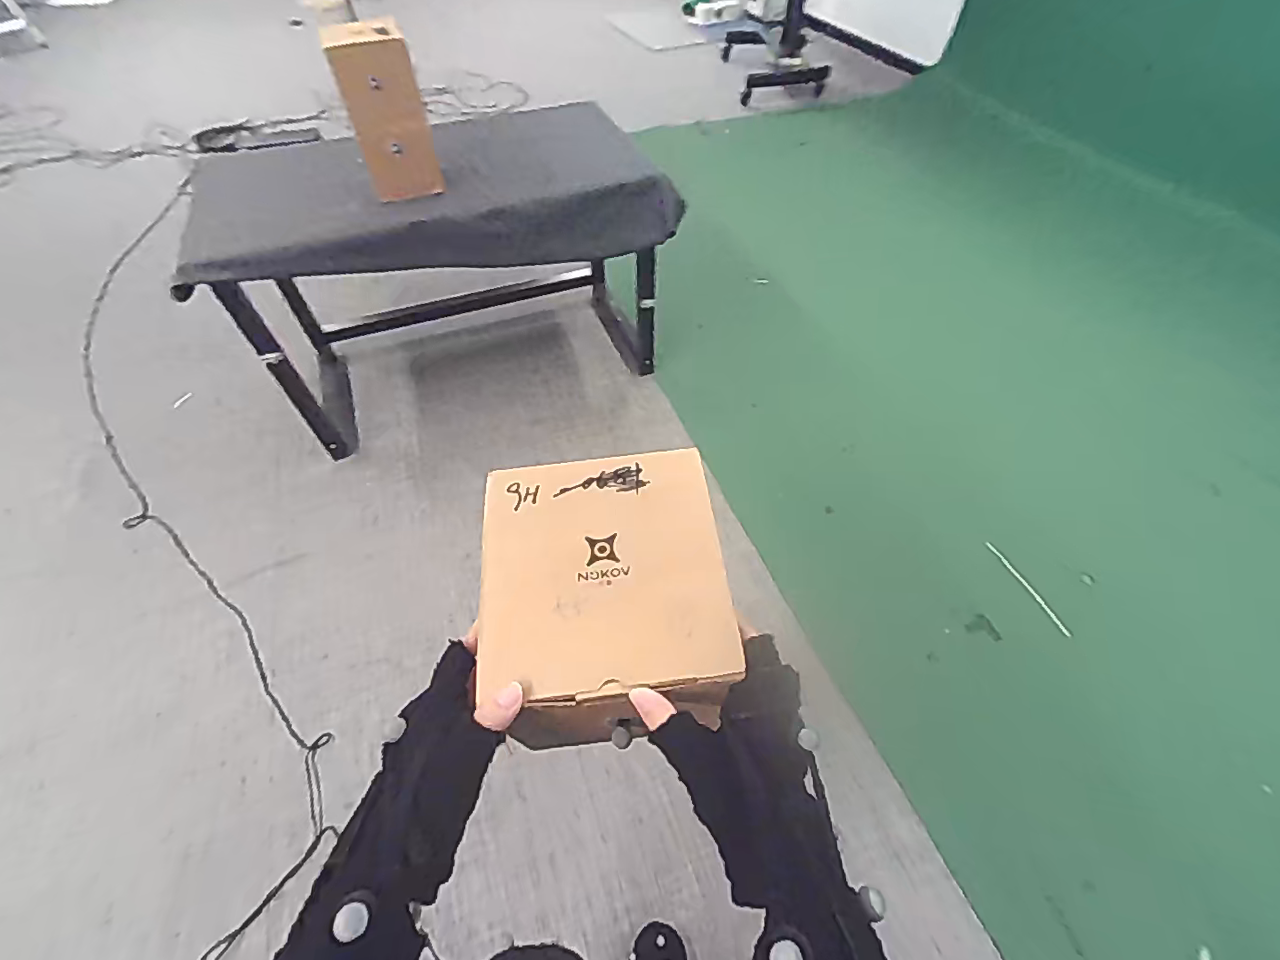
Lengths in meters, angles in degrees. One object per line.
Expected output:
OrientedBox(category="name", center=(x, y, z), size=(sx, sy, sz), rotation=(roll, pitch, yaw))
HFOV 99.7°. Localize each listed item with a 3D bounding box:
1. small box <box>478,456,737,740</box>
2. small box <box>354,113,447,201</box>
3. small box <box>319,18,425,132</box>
OrientedBox(category="small box", center=(-0.025, 0.106, 0.441), size=(0.168, 0.176, 0.179), rotation=(-7, 58, -2))
OrientedBox(category="small box", center=(-0.620, -0.847, 1.401), size=(0.179, 0.176, 0.168), rotation=(-17, 55, -14))
OrientedBox(category="small box", center=(-0.621, -0.949, 1.272), size=(0.179, 0.176, 0.168), rotation=(-19, 56, -12))
